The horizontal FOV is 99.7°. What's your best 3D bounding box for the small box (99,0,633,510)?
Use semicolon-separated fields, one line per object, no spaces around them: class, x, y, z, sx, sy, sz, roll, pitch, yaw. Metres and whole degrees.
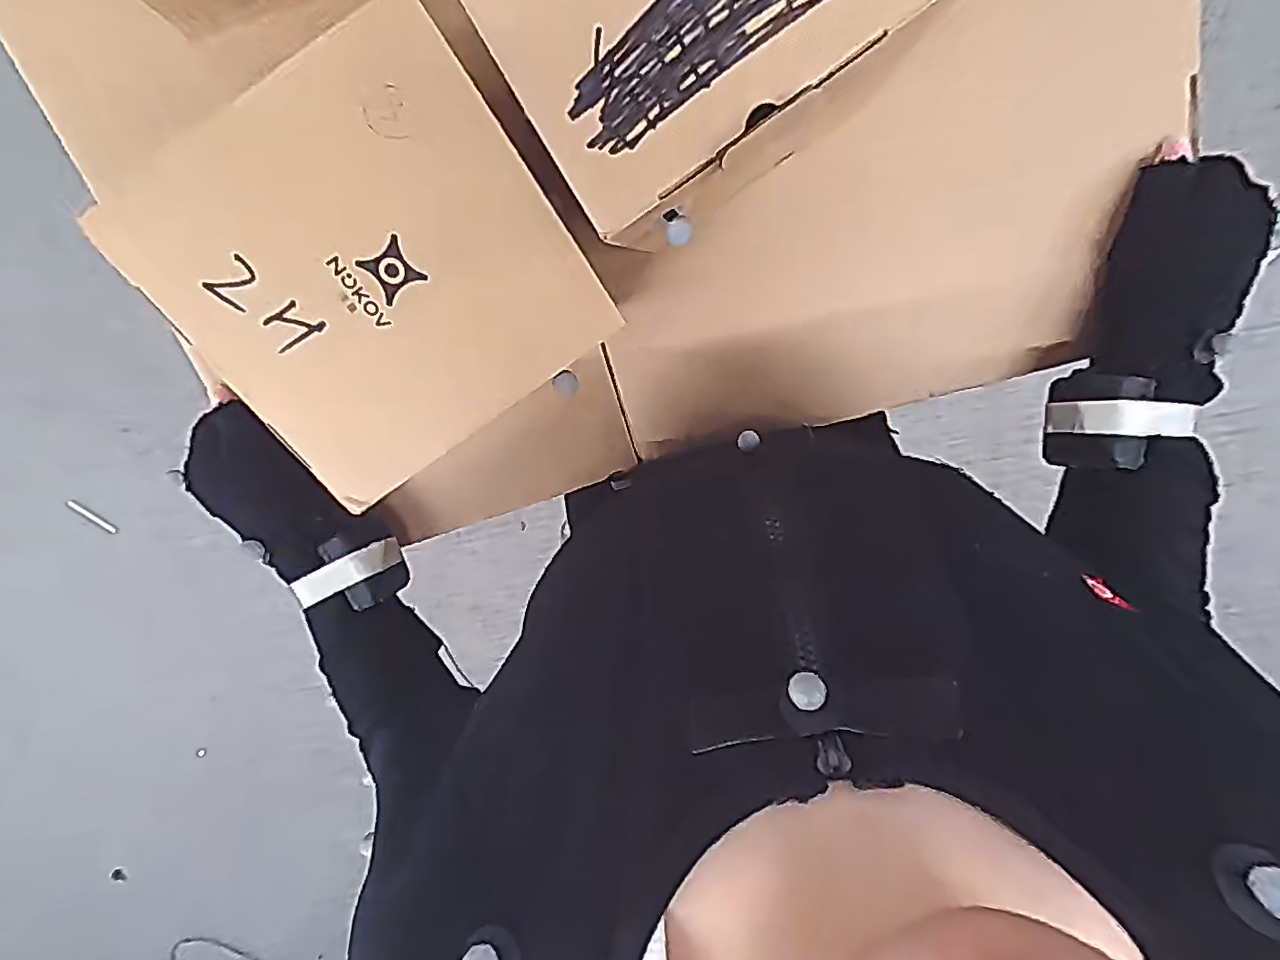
small box;-0.129;-0.117;0.326;0.179;0.176;0.168;-34;109;2
